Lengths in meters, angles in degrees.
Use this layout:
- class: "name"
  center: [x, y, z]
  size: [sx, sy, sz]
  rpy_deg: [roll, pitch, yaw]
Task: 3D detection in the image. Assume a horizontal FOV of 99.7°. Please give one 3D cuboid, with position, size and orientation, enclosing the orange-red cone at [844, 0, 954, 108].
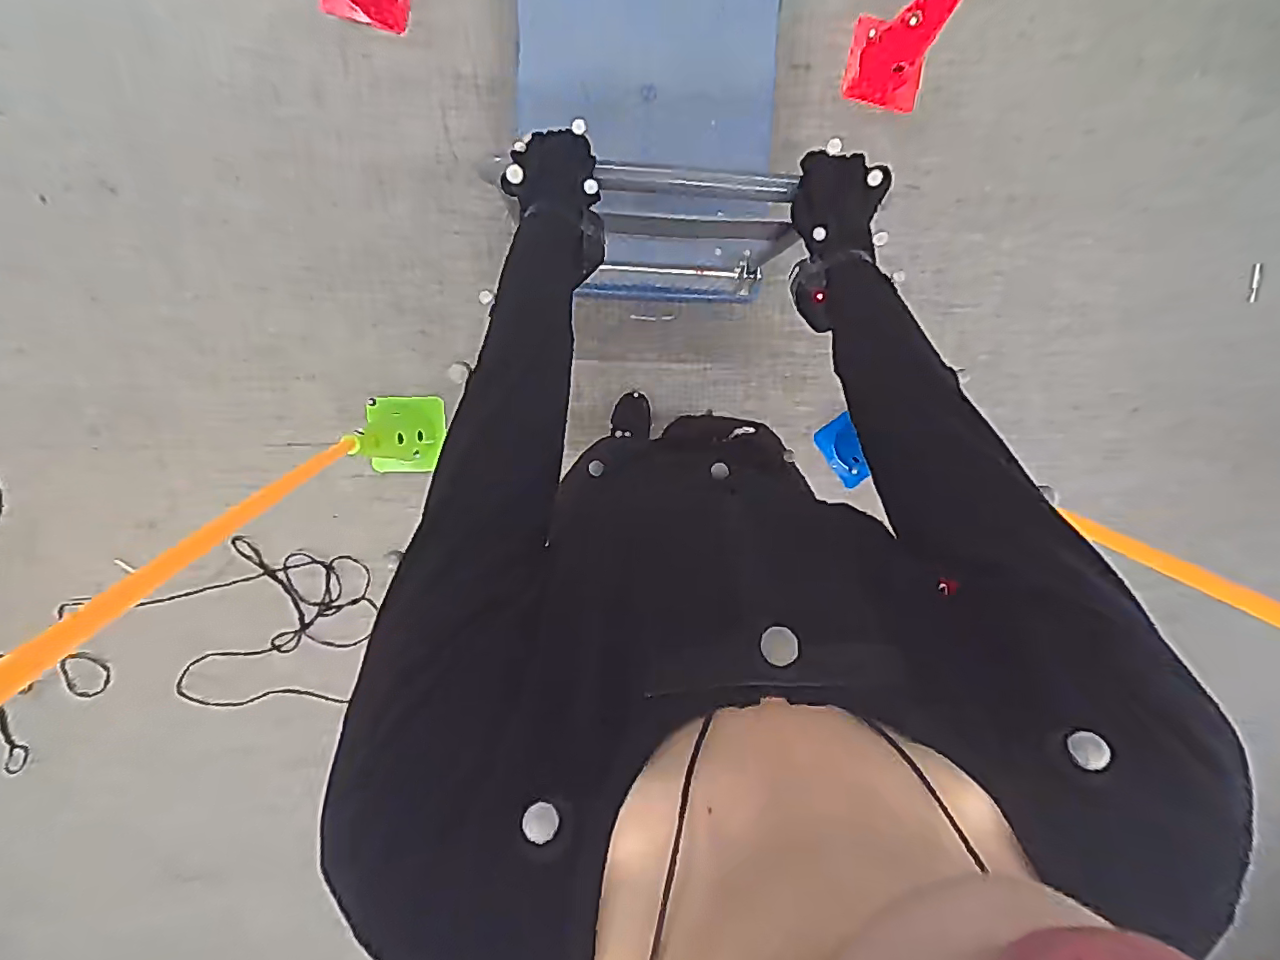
- class: "orange-red cone"
  center: [0.647, -1.051, 1.220]
  size: [0.198, 0.360, 0.199]
  rpy_deg: [10, 98, -5]
